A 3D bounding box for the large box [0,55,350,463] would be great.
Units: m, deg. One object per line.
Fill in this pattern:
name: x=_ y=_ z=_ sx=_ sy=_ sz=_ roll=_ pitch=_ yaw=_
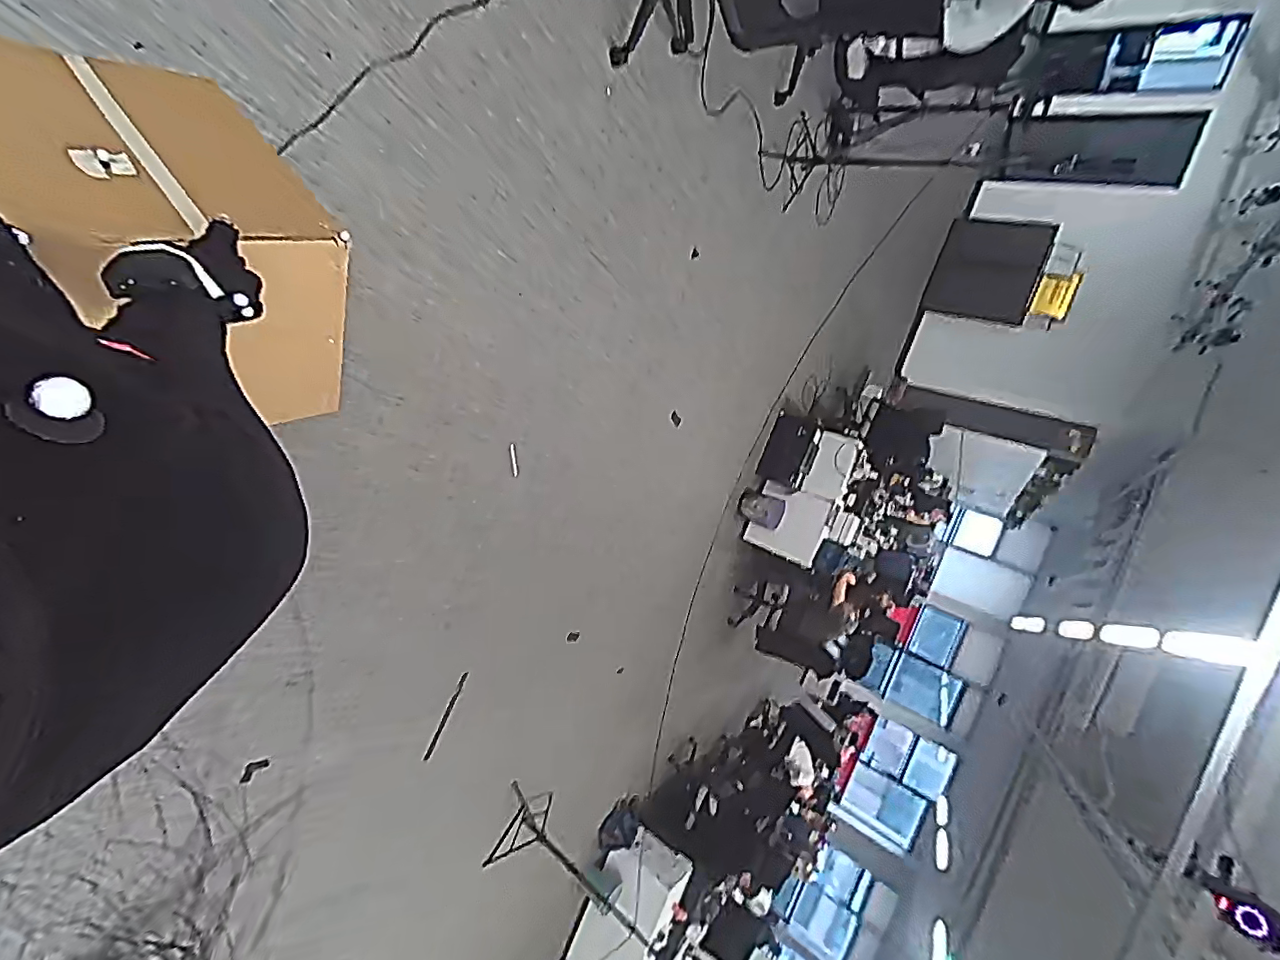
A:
large box: x=-0.671 y=-0.299 z=0.752 sx=0.320 sy=0.408 sz=0.320 roll=-28 pitch=160 yaw=-44
